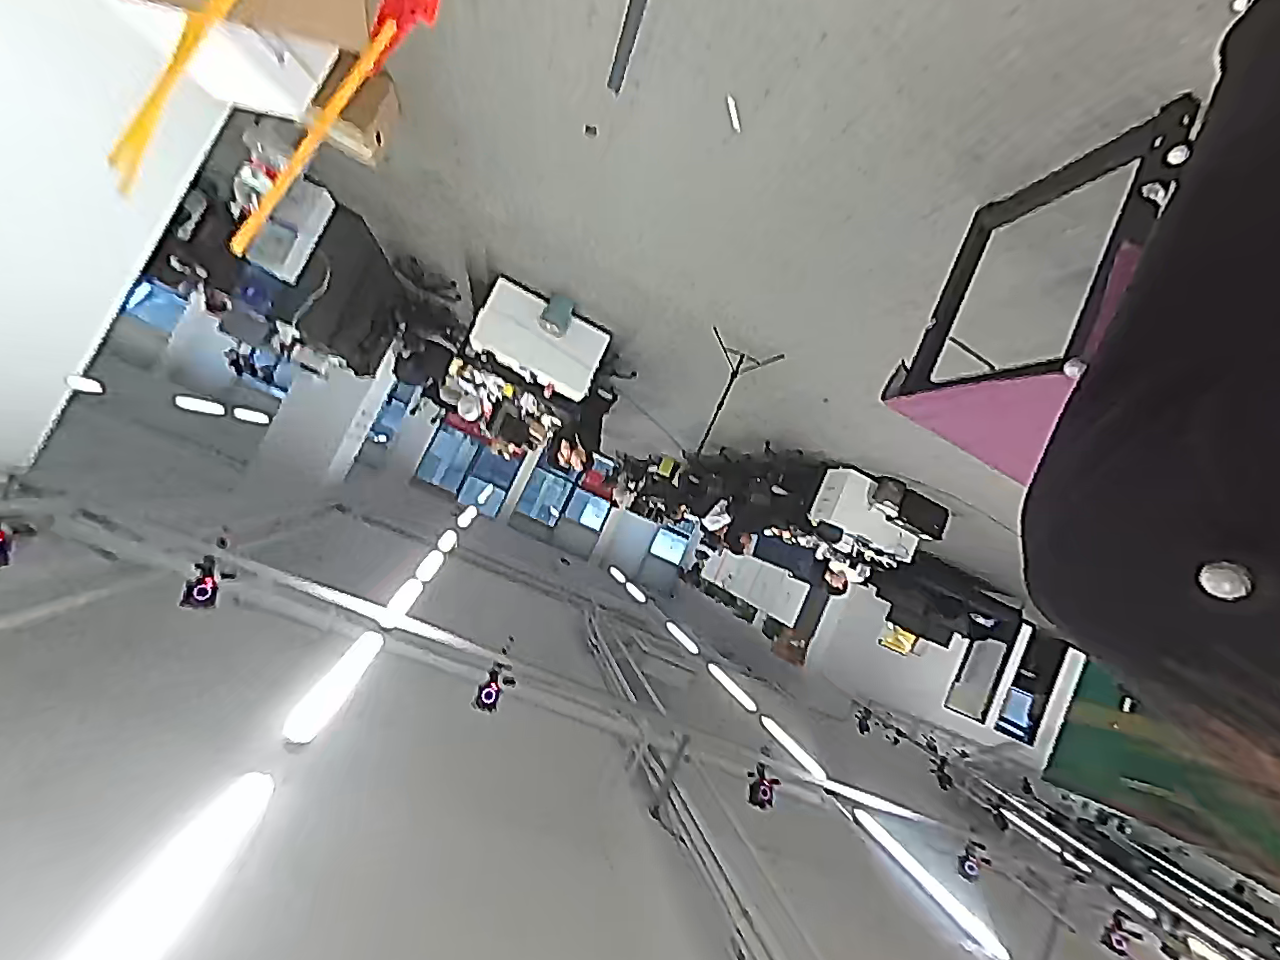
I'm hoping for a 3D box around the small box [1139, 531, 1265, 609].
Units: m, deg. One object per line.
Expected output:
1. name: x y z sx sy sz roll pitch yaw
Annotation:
1. small box: 1.634 0.252 1.575 0.168 0.176 0.179 25 175 -4
